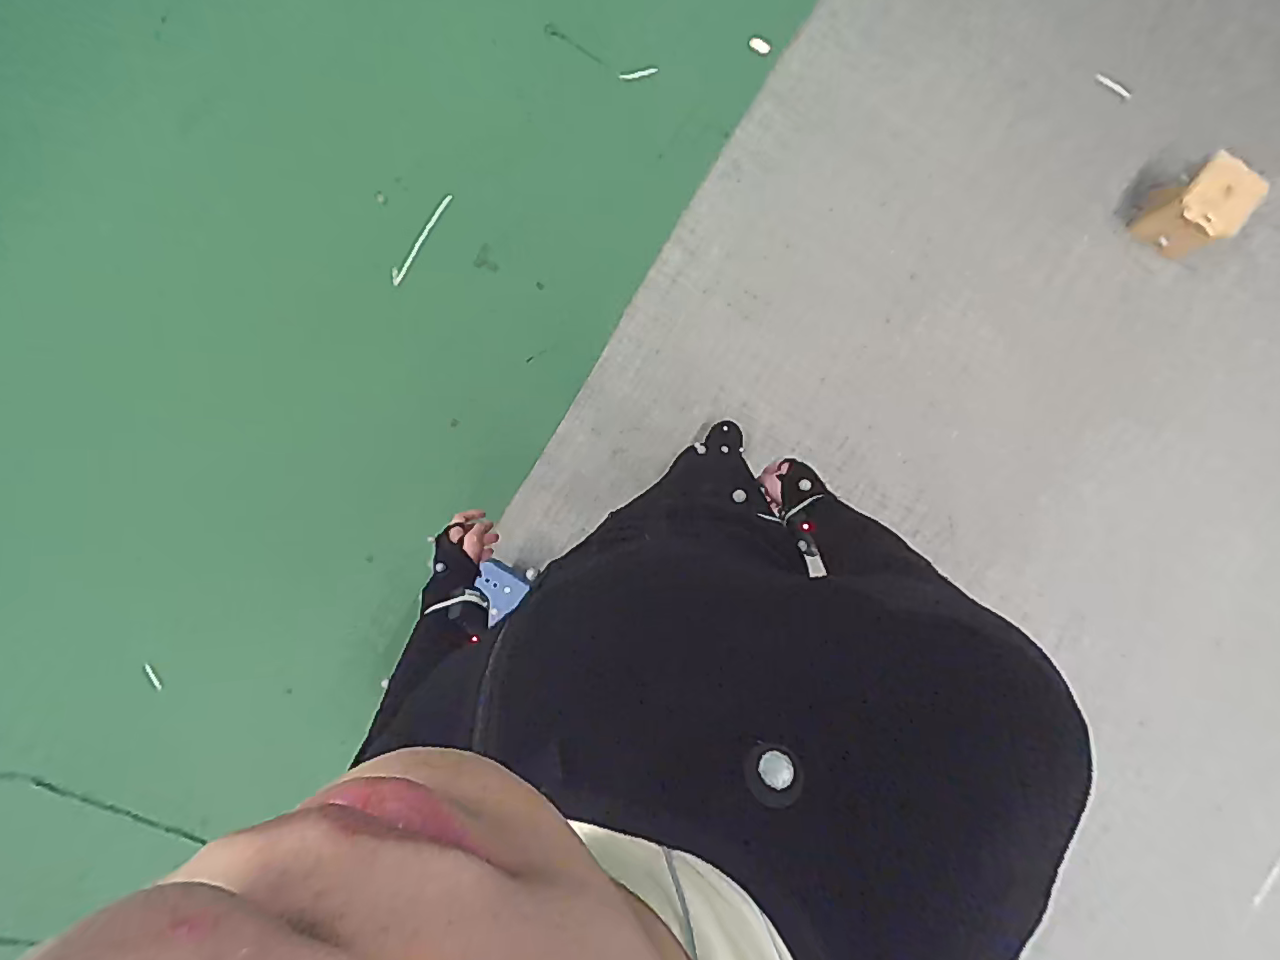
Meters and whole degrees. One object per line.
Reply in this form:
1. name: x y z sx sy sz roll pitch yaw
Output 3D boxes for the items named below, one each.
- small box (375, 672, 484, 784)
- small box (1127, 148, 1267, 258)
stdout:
1. small box: -0.537 0.635 1.410 0.179 0.176 0.168 35 91 0
2. small box: 1.530 -0.758 1.498 0.168 0.176 0.179 43 93 3
